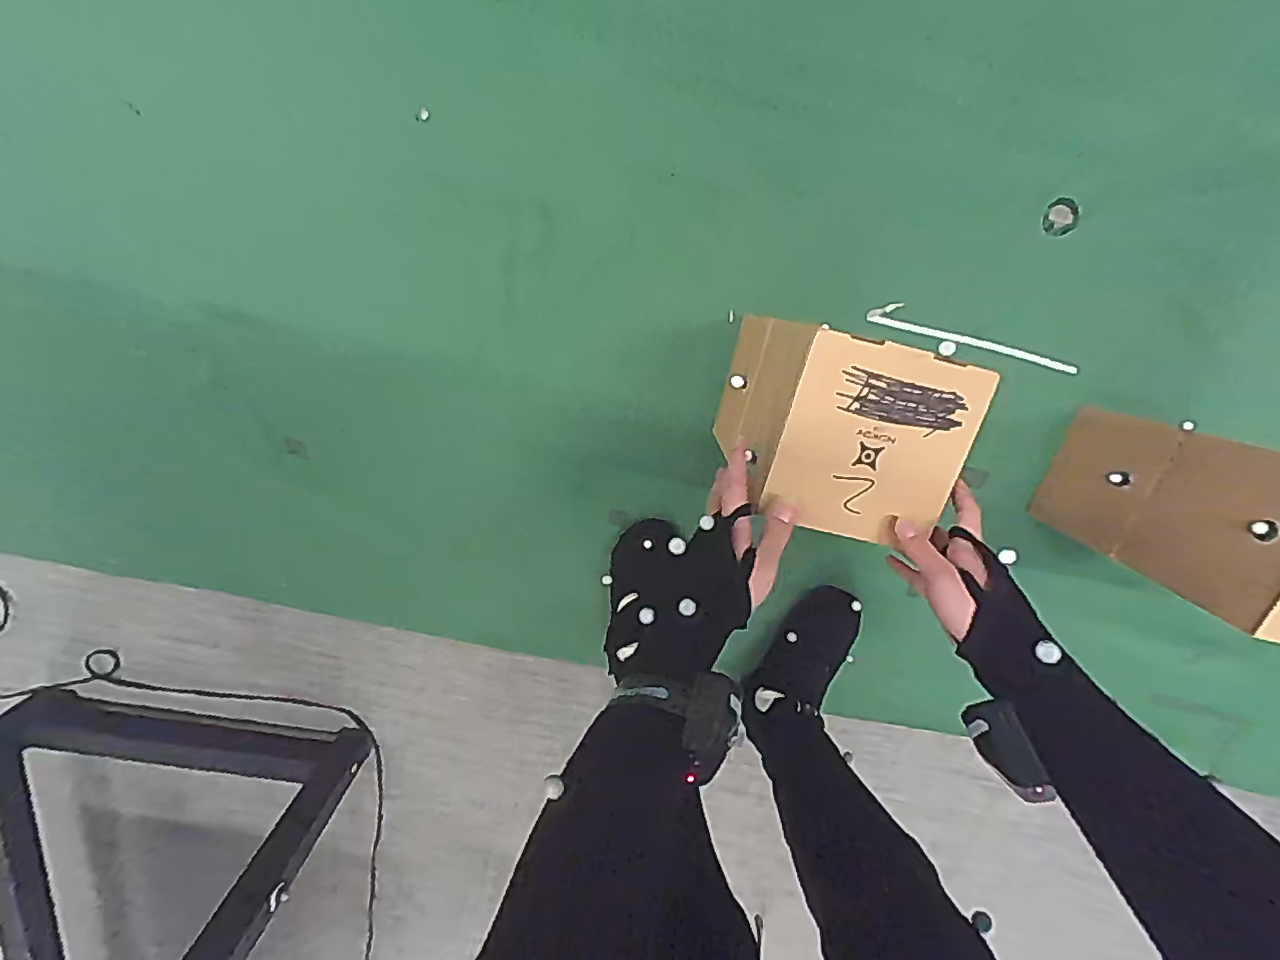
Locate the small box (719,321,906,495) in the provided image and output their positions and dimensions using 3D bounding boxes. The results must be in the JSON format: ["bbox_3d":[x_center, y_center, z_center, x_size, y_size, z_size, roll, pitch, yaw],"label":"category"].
[{"bbox_3d":[0.208,-0.102,0.712,0.168,0.176,0.179,13,106,-4],"label":"small box"}]

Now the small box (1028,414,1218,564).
[{"bbox_3d":[0.694,0.019,0.749,0.168,0.176,0.179,14,107,-5],"label":"small box"}]

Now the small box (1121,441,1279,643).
[{"bbox_3d":[0.697,0.069,0.592,0.168,0.176,0.179,14,107,-5],"label":"small box"}]
